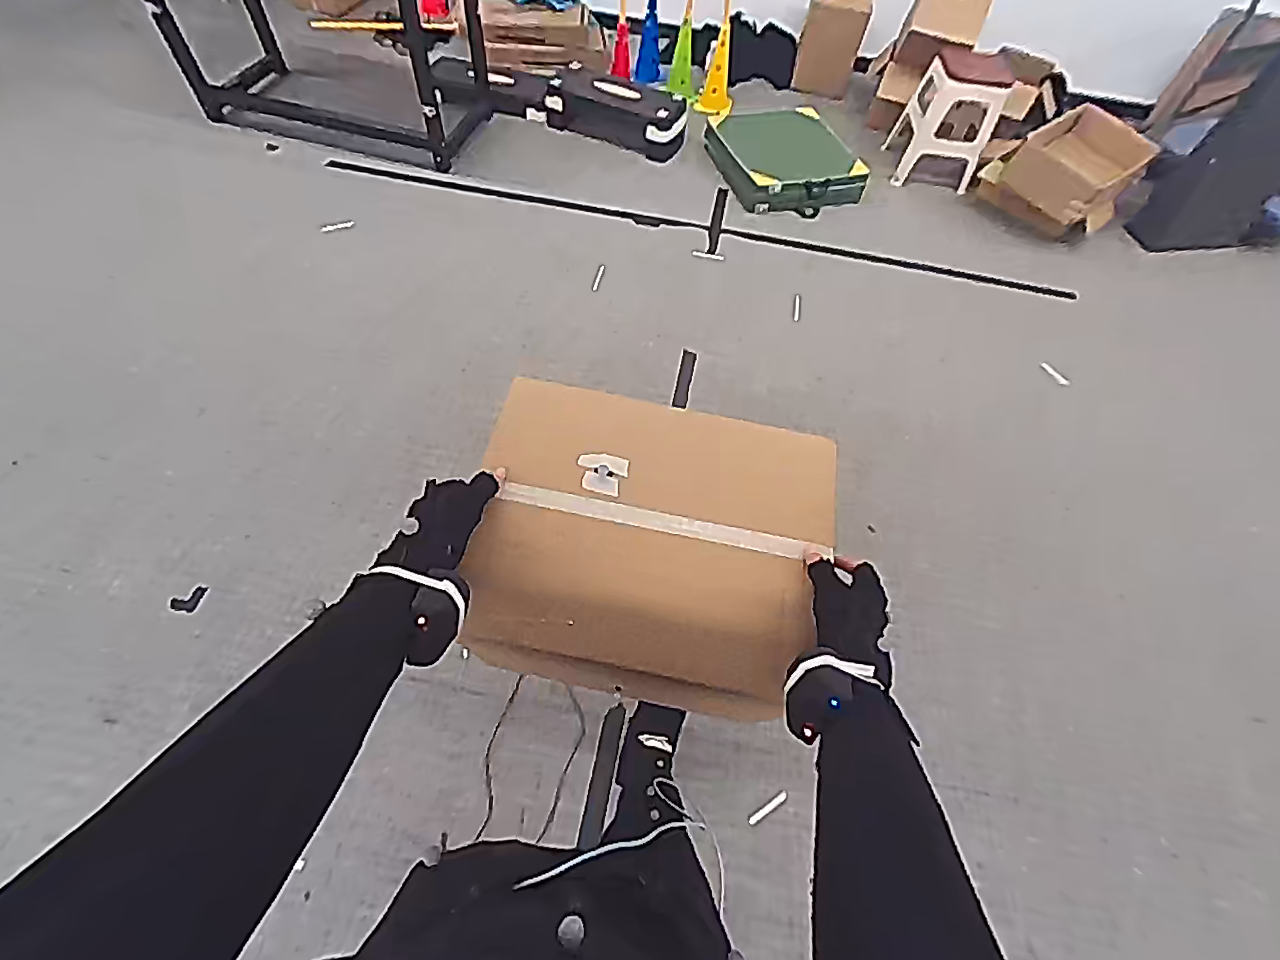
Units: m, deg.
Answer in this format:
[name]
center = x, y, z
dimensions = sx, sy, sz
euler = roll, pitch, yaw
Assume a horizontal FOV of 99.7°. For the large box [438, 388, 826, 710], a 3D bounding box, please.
[large box]
center = 0.006, 0.116, 0.749
dimensions = 0.408, 0.320, 0.320
euler = 11, 63, 2
